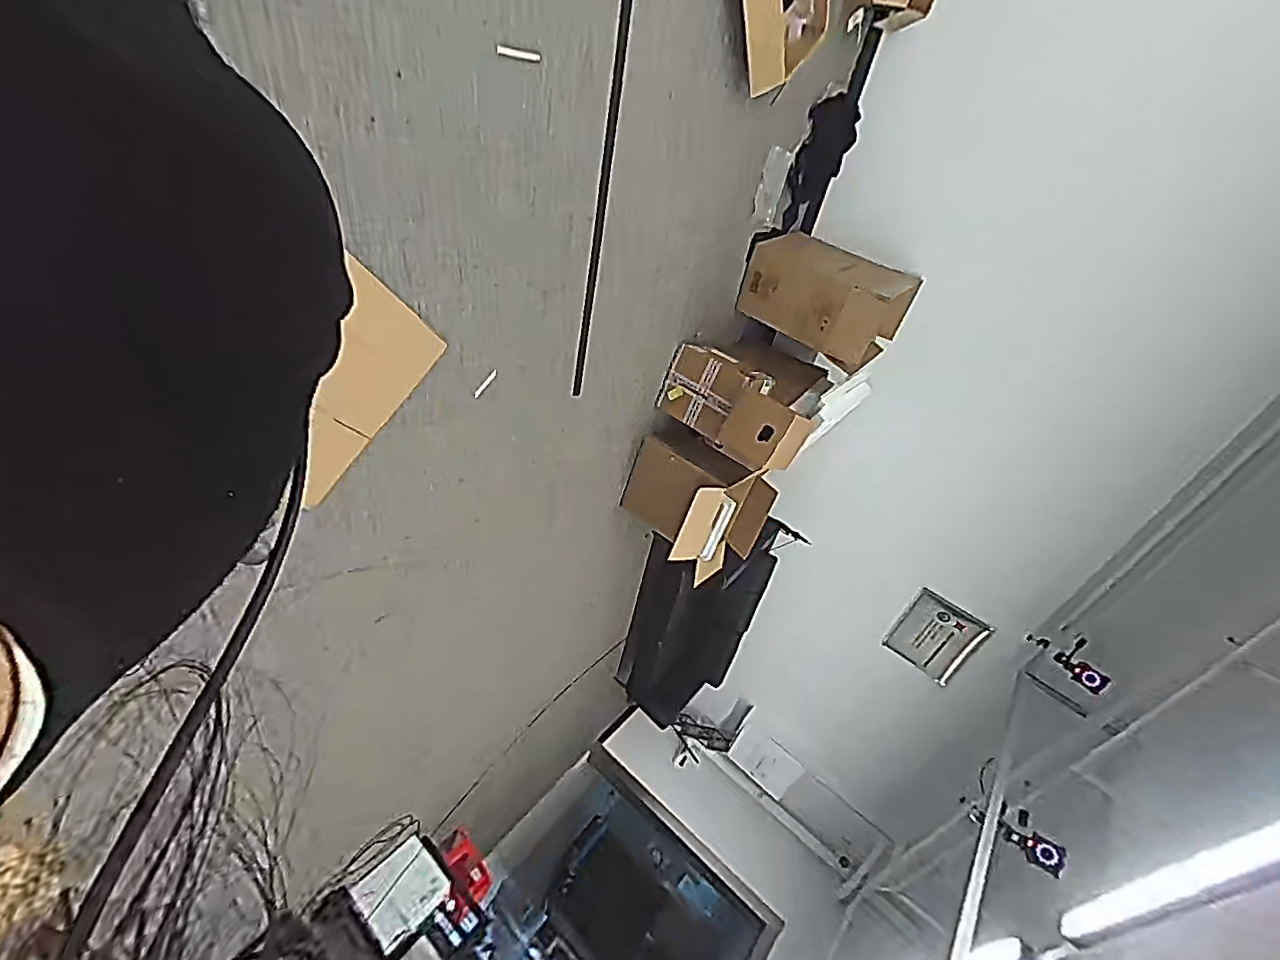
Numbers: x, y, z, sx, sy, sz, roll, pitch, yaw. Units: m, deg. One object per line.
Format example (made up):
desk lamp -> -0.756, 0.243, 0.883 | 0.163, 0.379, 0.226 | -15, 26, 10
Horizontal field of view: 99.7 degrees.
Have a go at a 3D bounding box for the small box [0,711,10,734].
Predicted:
small box -> -1.191, 0.372, 0.876 | 0.168, 0.176, 0.179 | -26, 142, -47

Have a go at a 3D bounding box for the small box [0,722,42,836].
small box -> -1.069, 0.462, 0.812 | 0.168, 0.176, 0.179 | -28, 142, -44
